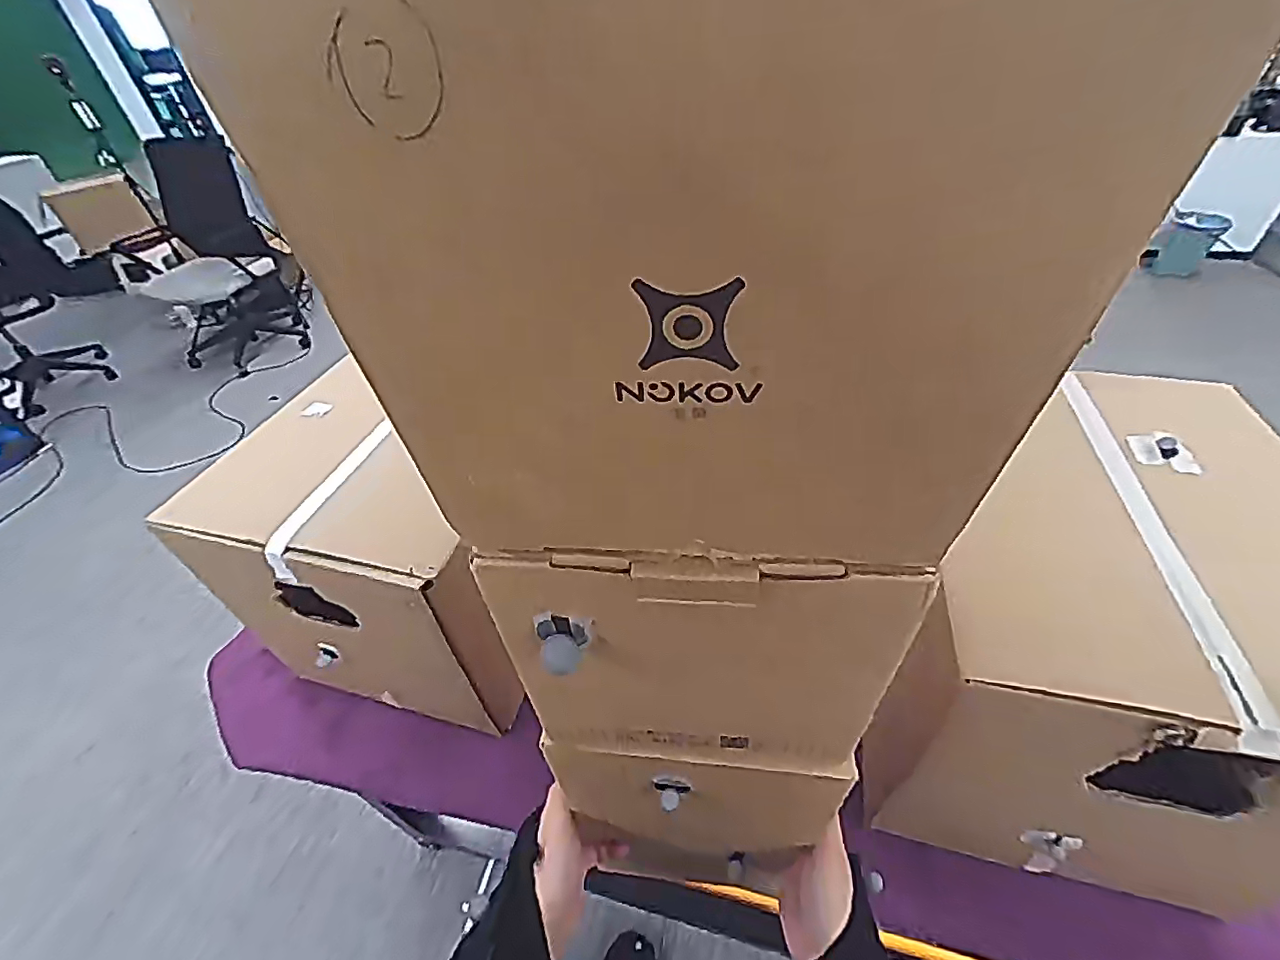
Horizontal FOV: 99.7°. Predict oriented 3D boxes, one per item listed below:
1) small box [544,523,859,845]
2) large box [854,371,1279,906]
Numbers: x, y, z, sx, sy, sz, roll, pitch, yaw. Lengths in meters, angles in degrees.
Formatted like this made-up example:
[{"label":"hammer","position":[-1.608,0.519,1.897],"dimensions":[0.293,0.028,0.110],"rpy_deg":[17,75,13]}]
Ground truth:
[{"label":"small box","position":[0.045,0.151,0.405],"dimensions":[0.179,0.176,0.168],"rpy_deg":[3,44,7]},{"label":"large box","position":[0.416,0.129,0.559],"dimensions":[0.320,0.320,0.408],"rpy_deg":[7,42,13]}]
